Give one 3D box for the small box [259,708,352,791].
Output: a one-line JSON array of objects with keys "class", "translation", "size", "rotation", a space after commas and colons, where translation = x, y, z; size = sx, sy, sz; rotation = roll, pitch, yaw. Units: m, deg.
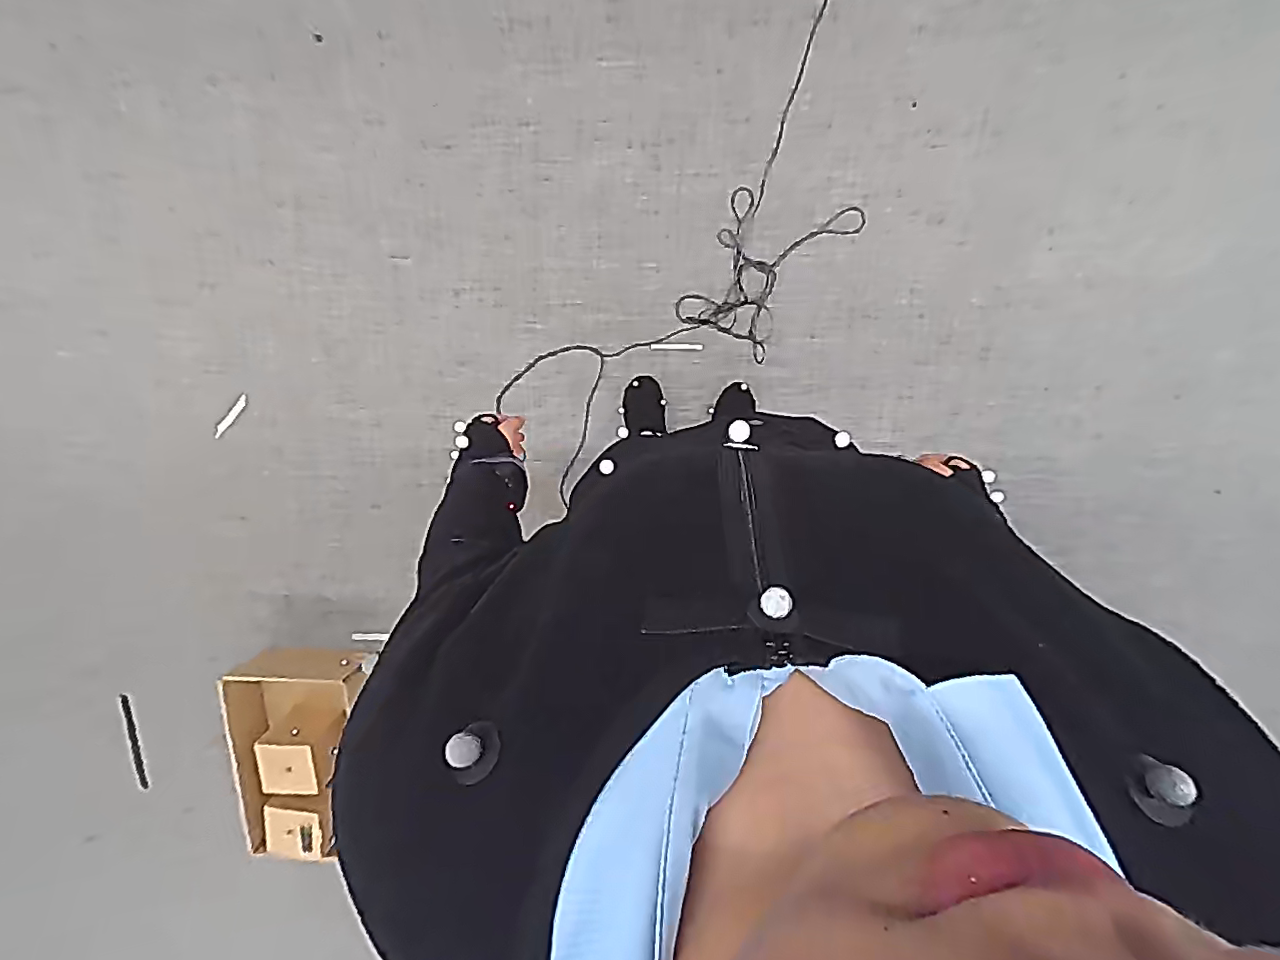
[{"class": "small box", "translation": [-1.011, 0.820, 1.656], "size": [0.179, 0.176, 0.168], "rotation": [-1, 101, 5]}]
